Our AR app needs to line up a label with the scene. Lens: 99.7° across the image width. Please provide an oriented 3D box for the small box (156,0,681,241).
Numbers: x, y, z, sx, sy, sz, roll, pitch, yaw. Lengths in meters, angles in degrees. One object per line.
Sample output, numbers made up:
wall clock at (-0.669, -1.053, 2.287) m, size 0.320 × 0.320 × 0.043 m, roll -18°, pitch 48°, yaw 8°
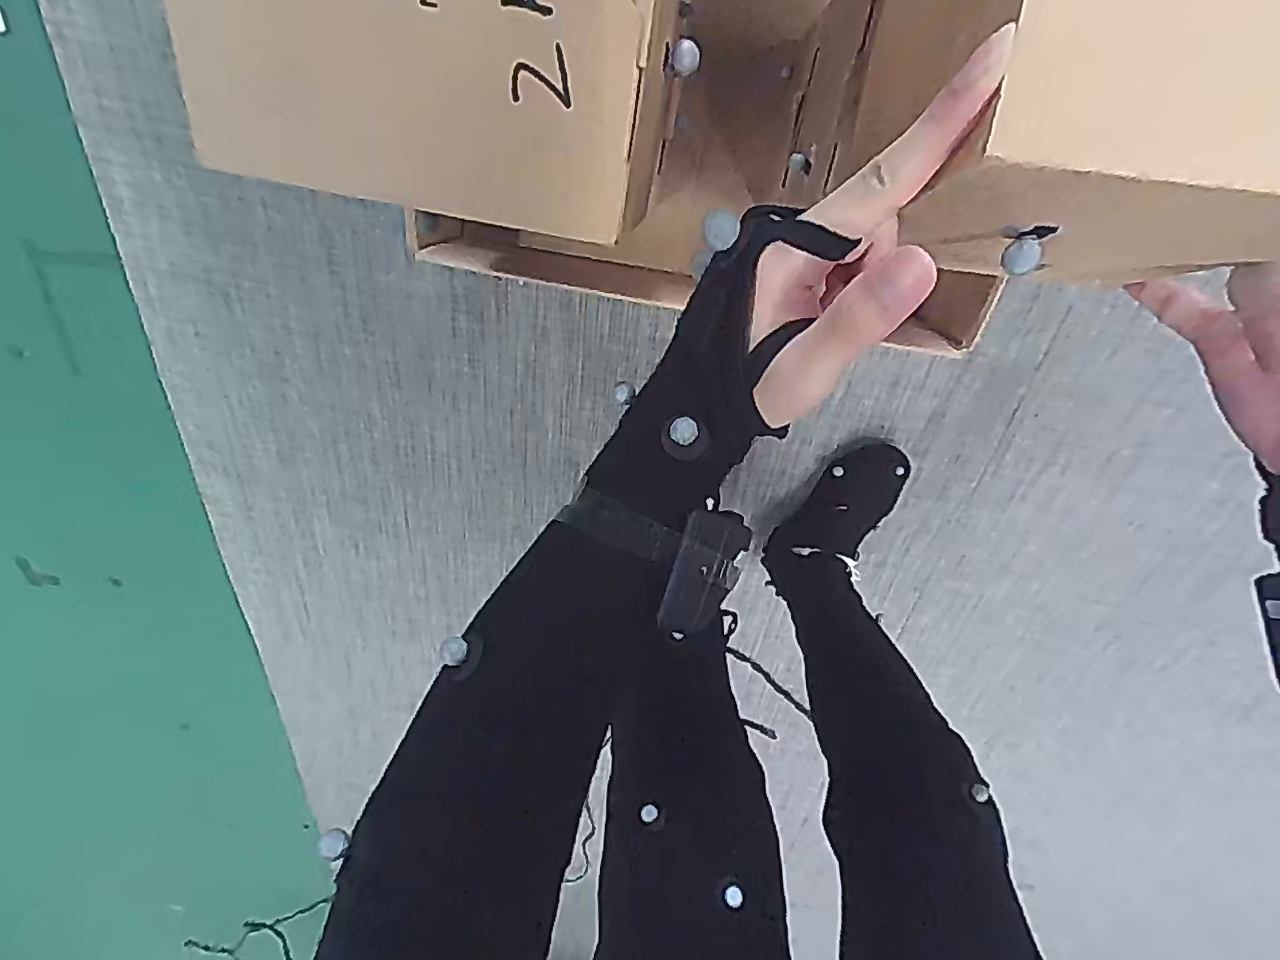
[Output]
small box at (-0.076, -0.219, 0.248) m, size 0.179 × 0.176 × 0.168 m, roll 11°, pitch 120°, yaw -1°

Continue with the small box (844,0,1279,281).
small box at (0.196, -0.187, 0.217) m, size 0.168 × 0.176 × 0.179 m, roll 8°, pitch 102°, yaw 3°

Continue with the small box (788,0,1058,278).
small box at (0.216, -0.256, 0.388) m, size 0.179 × 0.176 × 0.168 m, roll 9°, pitch 122°, yaw 1°
